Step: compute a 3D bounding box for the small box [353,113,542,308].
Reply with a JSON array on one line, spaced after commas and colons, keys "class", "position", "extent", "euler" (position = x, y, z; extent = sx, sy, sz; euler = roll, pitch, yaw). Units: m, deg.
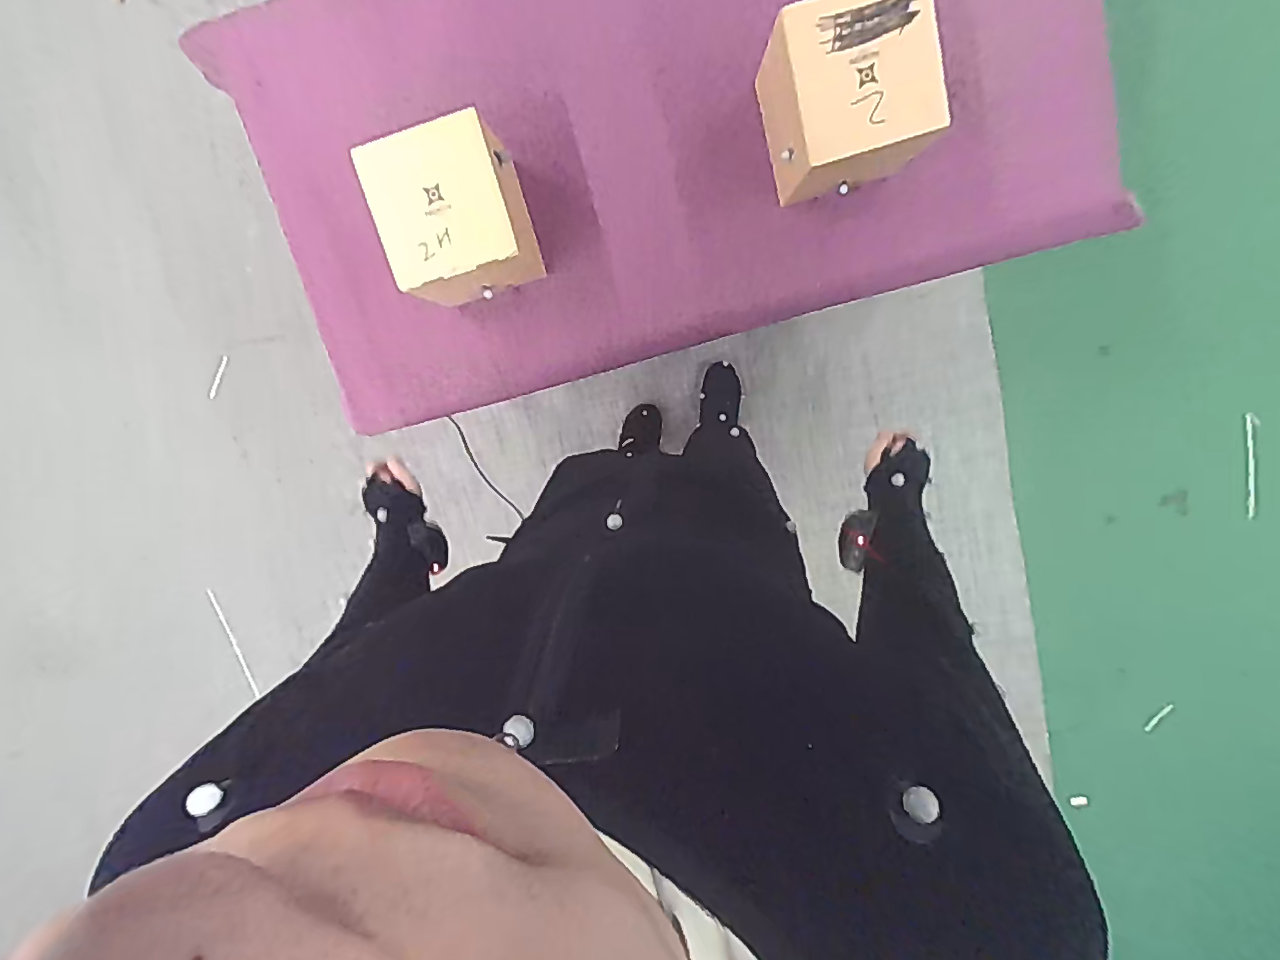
[{"class": "small box", "position": [-0.251, -0.356, 0.749], "extent": [0.168, 0.176, 0.179], "euler": [-15, 100, 6]}]
